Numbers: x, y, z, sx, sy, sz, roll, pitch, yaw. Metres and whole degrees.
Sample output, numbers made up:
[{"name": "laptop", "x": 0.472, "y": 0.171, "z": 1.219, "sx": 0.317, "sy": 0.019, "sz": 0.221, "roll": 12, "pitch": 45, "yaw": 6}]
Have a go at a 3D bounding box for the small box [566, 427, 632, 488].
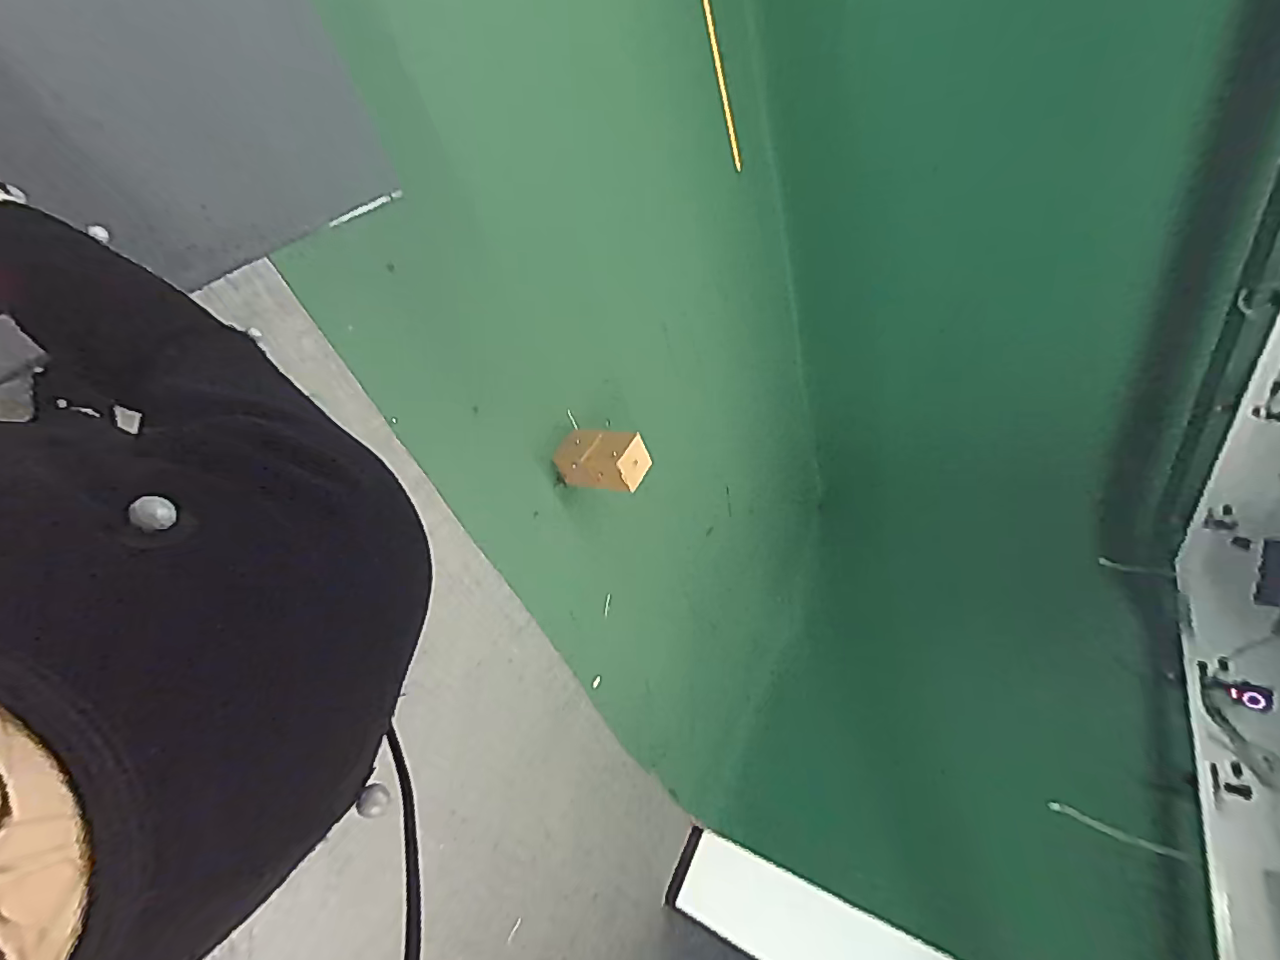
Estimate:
[{"name": "small box", "x": -0.162, "y": -0.094, "z": 2.133, "sx": 0.179, "sy": 0.176, "sz": 0.168, "roll": -58, "pitch": 141, "yaw": -33}]
